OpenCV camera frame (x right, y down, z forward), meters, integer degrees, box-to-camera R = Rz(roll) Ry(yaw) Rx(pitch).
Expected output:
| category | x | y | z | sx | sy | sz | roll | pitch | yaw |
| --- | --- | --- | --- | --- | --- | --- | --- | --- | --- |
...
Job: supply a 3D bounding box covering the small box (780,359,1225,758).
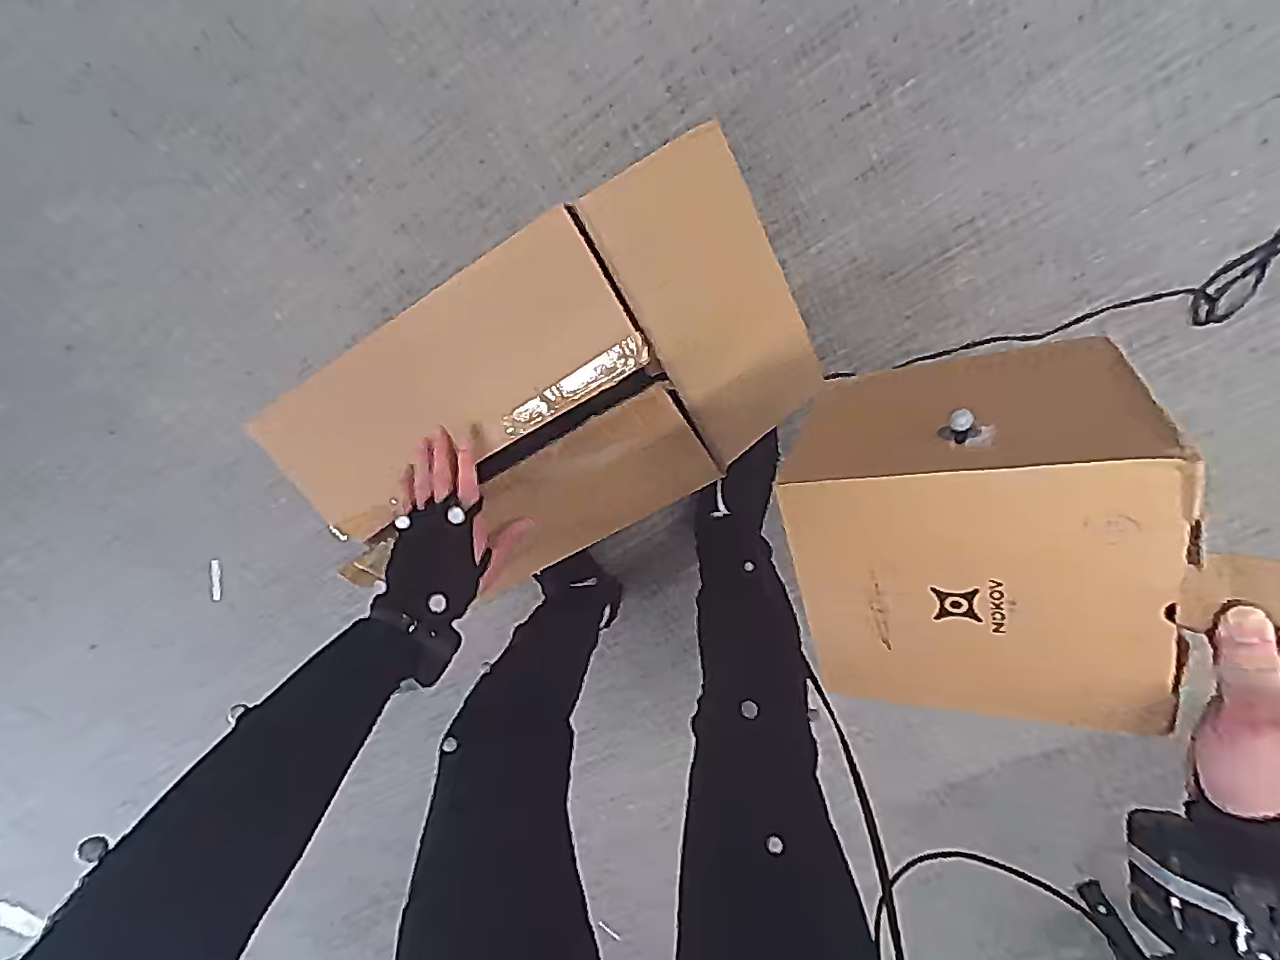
| category | x | y | z | sx | sy | sz | roll | pitch | yaw |
| --- | --- | --- | --- | --- | --- | --- | --- | --- | --- |
| small box | 0.203 | 0.033 | 0.342 | 0.179 | 0.176 | 0.168 | -2 | 117 | 30 |
